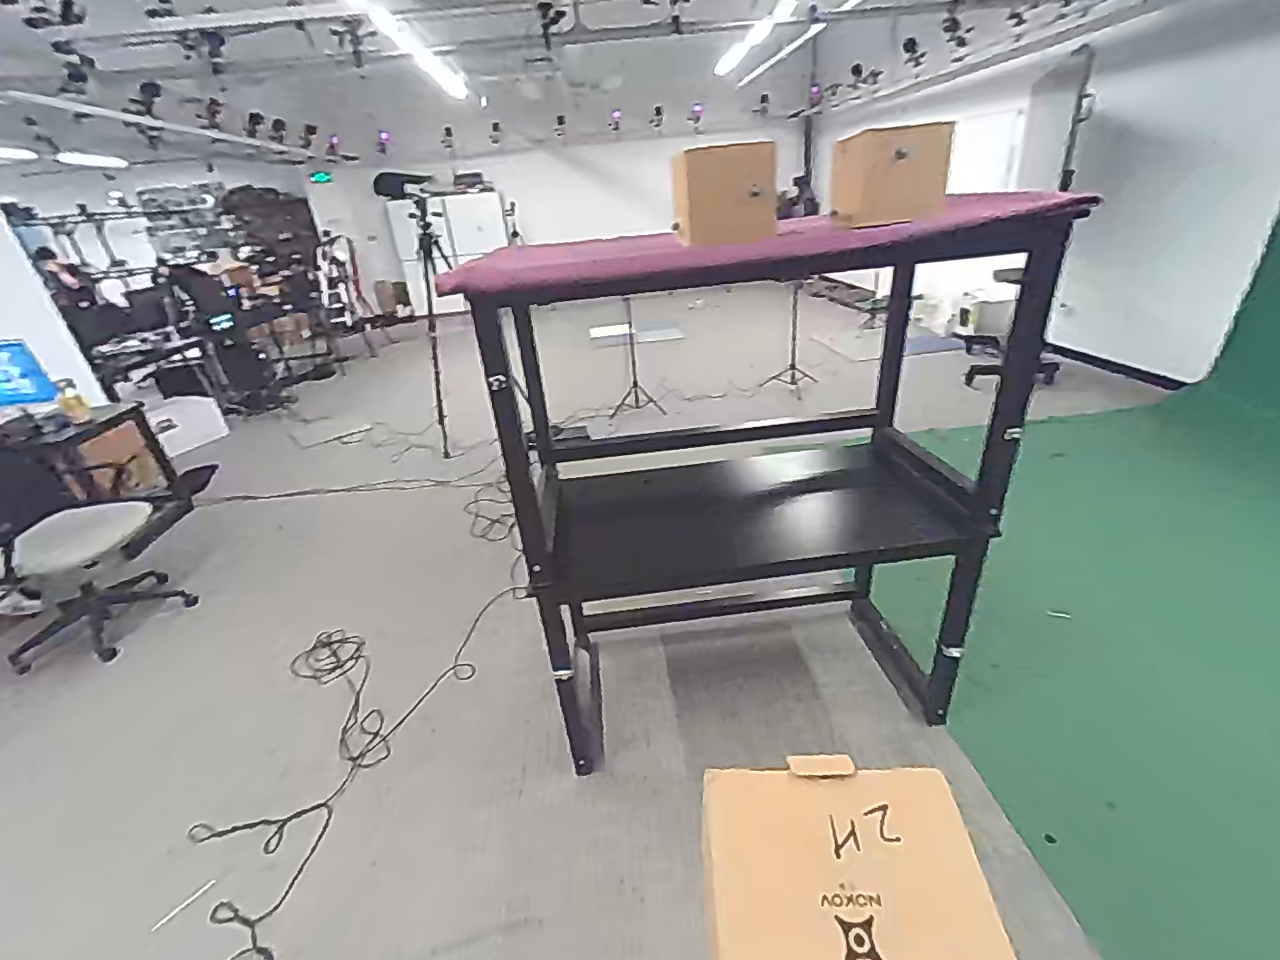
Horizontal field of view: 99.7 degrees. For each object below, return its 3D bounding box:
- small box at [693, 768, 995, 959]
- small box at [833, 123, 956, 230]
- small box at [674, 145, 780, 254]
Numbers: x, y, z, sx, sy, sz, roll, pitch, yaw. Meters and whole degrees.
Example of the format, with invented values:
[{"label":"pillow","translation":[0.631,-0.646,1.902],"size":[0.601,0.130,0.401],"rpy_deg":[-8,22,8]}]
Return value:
[{"label":"small box","translation":[0.124,0.323,0.372],"size":[0.168,0.176,0.179],"rpy_deg":[-2,40,2]},{"label":"small box","translation":[0.512,-0.612,1.112],"size":[0.179,0.176,0.168],"rpy_deg":[-6,25,-1]},{"label":"small box","translation":[0.168,-0.558,1.080],"size":[0.179,0.176,0.168],"rpy_deg":[-8,27,-3]}]
